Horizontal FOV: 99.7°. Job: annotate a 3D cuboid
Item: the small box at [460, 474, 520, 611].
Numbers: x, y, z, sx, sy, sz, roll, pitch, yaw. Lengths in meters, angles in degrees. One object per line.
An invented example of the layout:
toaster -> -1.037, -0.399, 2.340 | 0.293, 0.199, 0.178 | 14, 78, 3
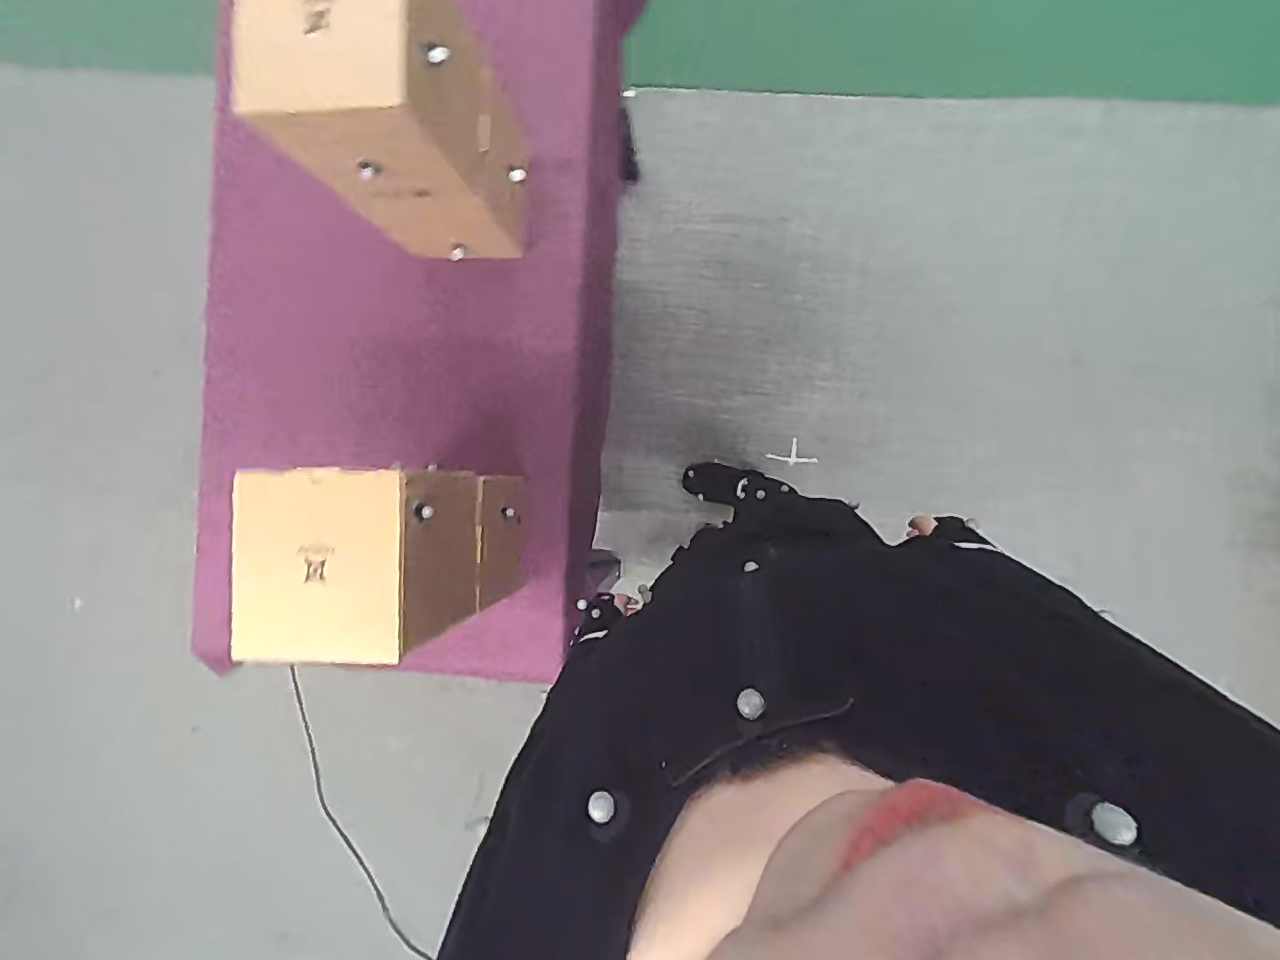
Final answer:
small box -> -0.270, 0.074, 0.731 | 0.179, 0.176, 0.168 | 1, 89, 6

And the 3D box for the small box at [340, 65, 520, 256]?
small box -> -0.269, -0.416, 0.729 | 0.179, 0.176, 0.168 | 3, 90, 5

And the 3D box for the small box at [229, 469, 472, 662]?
small box -> -0.287, 0.078, 0.570 | 0.168, 0.176, 0.179 | -1, 88, 6

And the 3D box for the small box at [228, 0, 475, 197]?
small box -> -0.283, -0.418, 0.564 | 0.168, 0.176, 0.179 | 2, 90, 6
